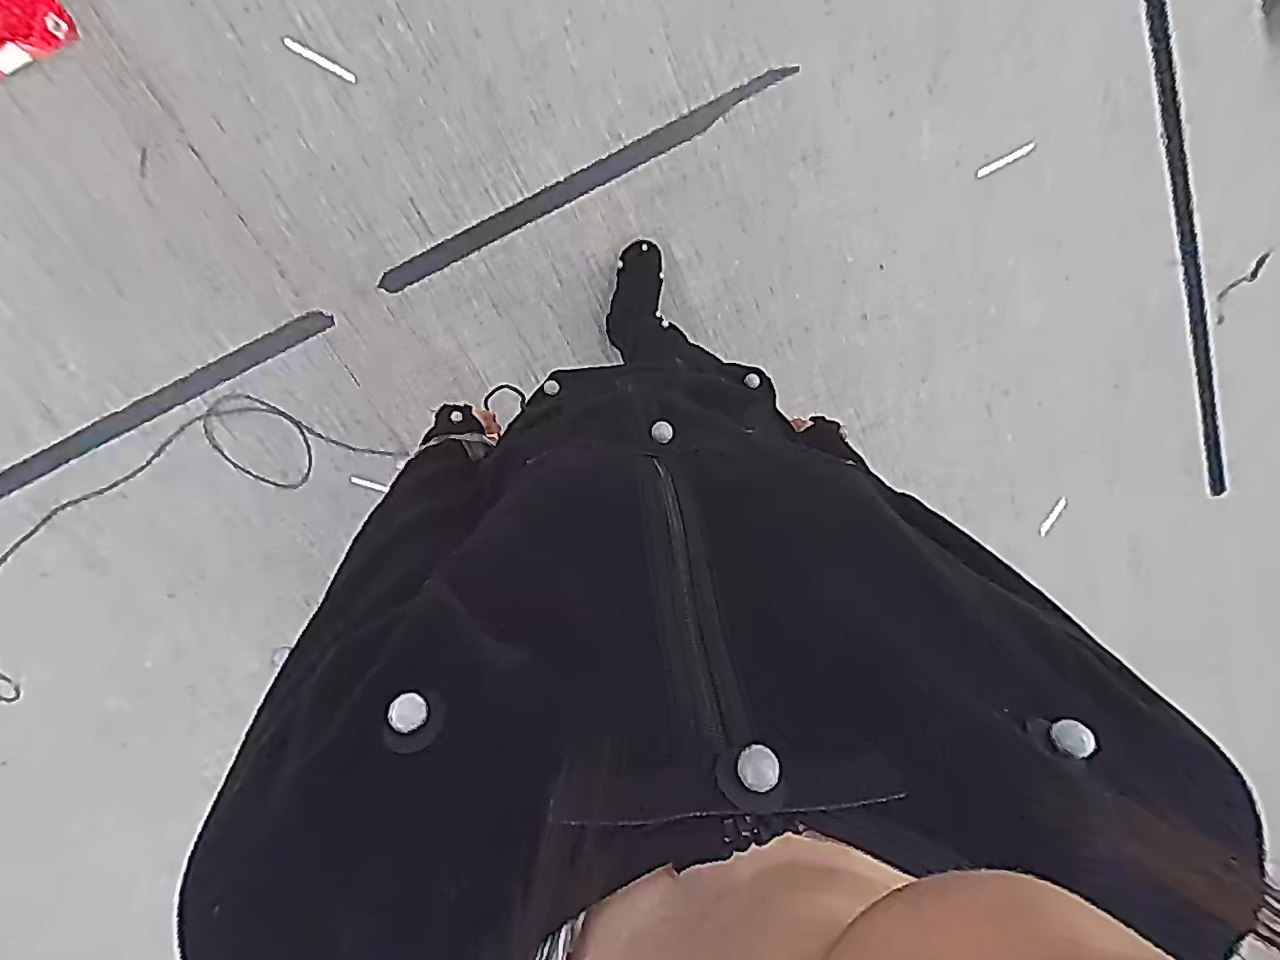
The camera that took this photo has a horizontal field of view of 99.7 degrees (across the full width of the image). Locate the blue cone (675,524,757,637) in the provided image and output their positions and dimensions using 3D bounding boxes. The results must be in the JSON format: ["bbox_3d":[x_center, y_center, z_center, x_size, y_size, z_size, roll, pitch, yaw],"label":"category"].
[{"bbox_3d":[0.231,0.277,1.380,0.192,0.380,0.193,-24,109,1],"label":"blue cone"}]
